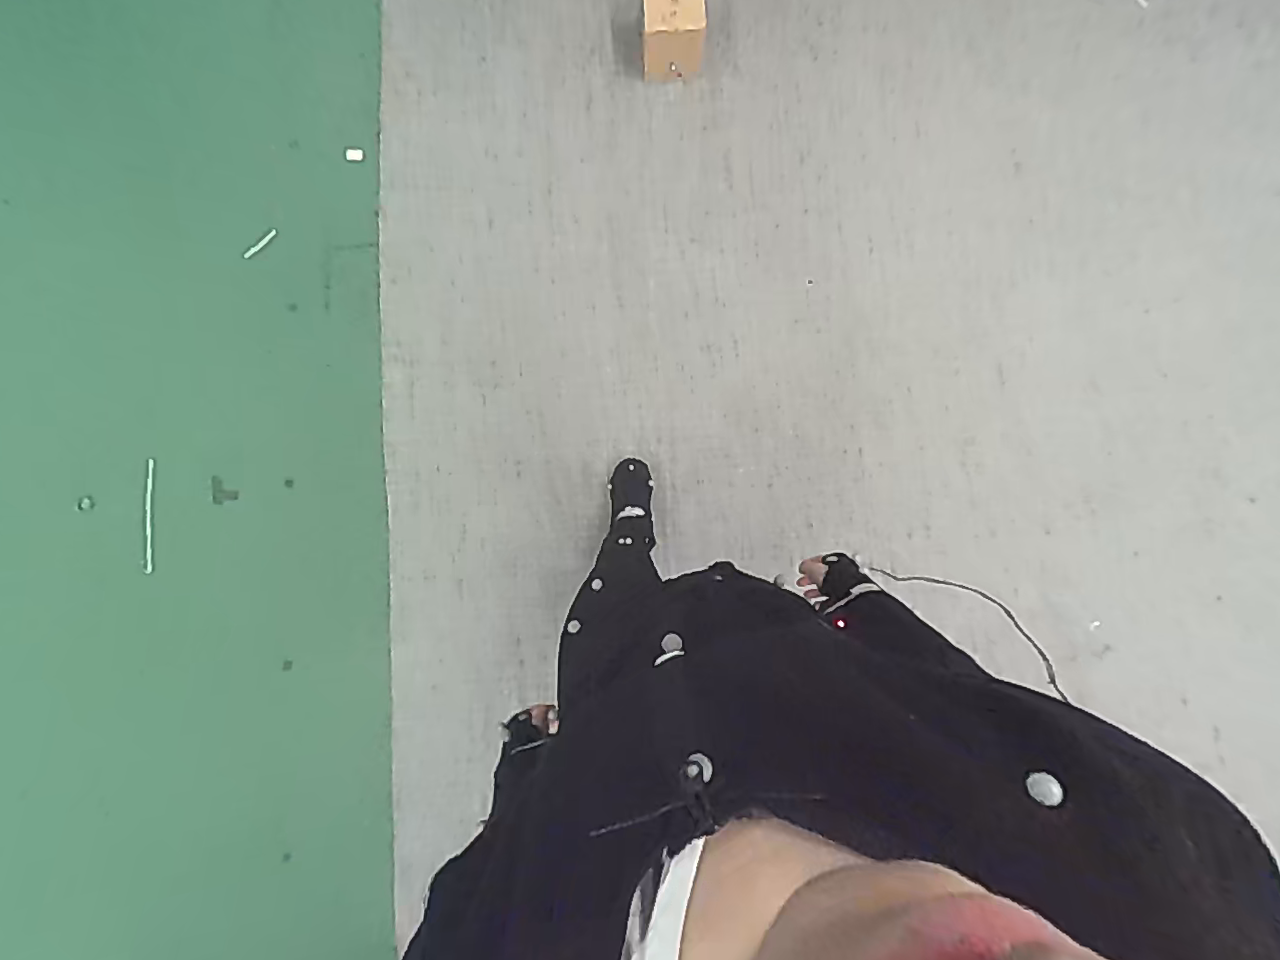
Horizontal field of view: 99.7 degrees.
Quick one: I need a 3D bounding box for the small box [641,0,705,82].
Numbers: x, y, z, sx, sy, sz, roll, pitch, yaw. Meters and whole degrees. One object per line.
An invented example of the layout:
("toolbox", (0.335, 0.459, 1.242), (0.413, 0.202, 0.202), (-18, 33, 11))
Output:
("small box", (0.089, -1.267, 1.522), (0.168, 0.176, 0.179), (-3, 86, 0))
